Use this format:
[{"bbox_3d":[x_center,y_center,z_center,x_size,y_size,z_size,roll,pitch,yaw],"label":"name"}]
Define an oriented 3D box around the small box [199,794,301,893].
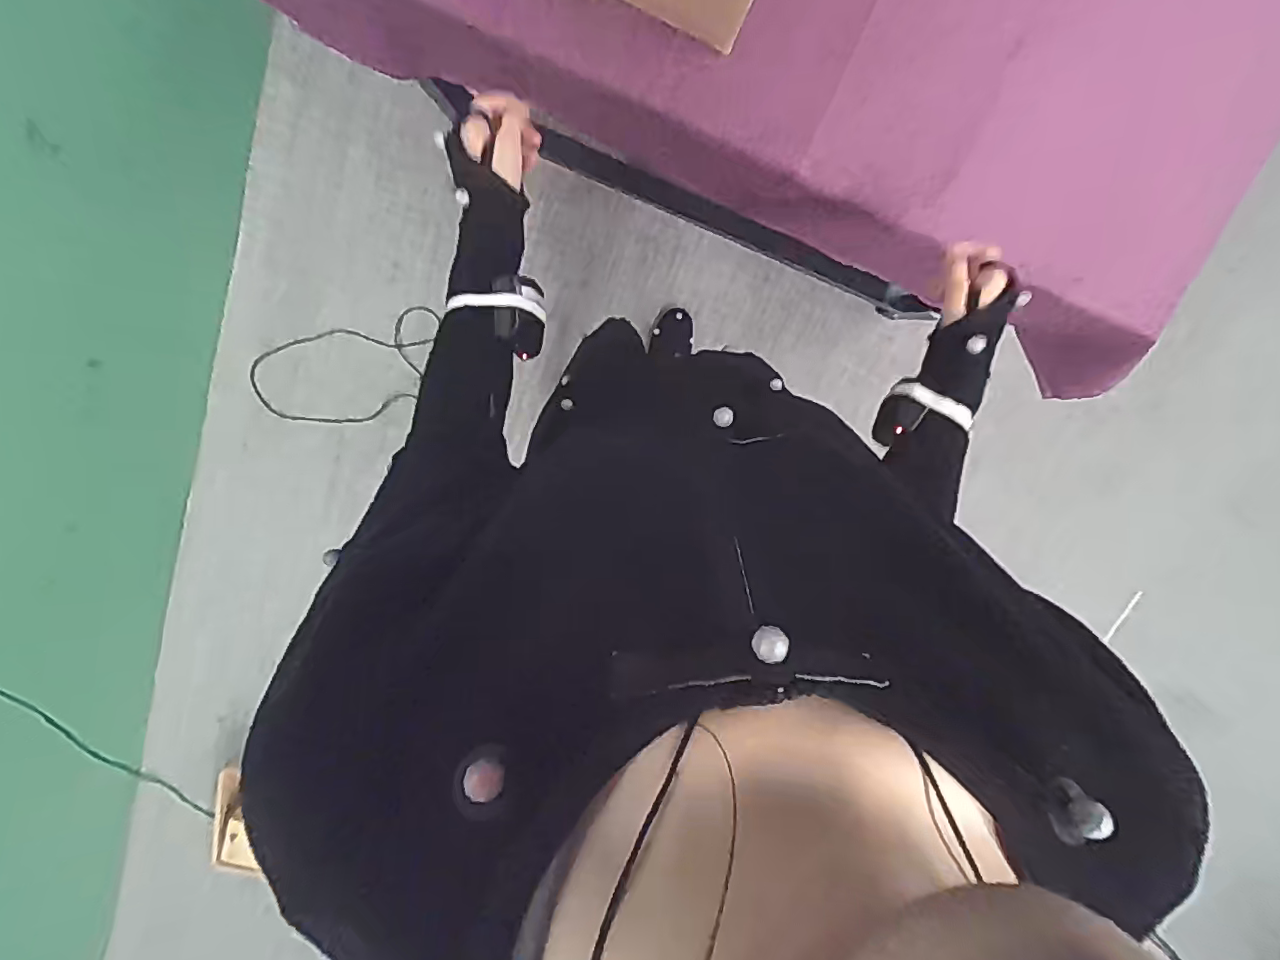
[{"bbox_3d":[-1.160,1.082,1.621,0.179,0.176,0.168,20,103,-8],"label":"small box"}]
